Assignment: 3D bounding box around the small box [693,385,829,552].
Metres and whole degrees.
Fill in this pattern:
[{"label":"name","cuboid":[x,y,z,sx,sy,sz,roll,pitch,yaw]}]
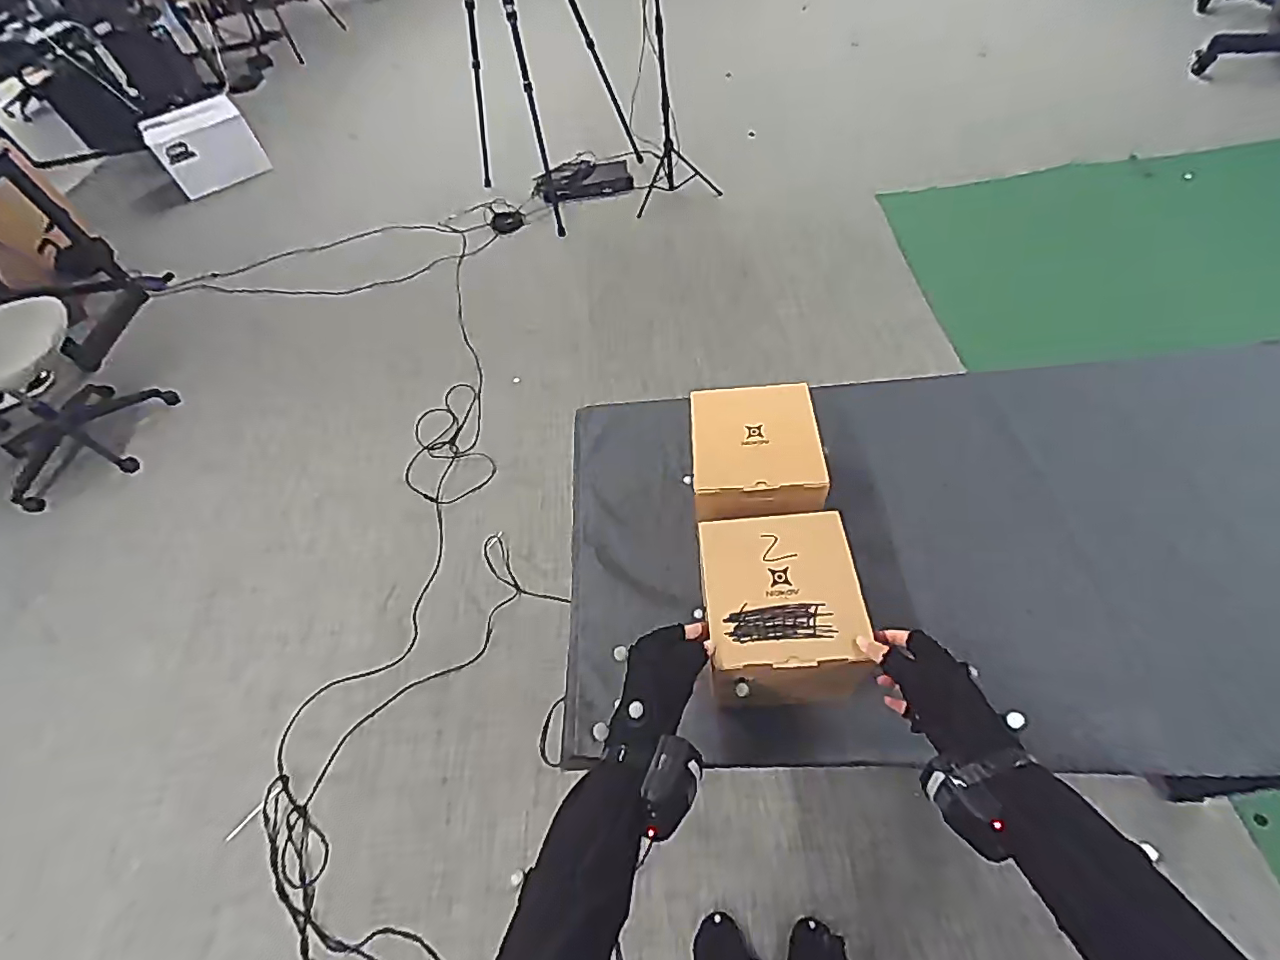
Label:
[{"label":"small box","cuboid":[0.162,-0.013,0.782,0.168,0.176,0.179,-4,55,6]}]
